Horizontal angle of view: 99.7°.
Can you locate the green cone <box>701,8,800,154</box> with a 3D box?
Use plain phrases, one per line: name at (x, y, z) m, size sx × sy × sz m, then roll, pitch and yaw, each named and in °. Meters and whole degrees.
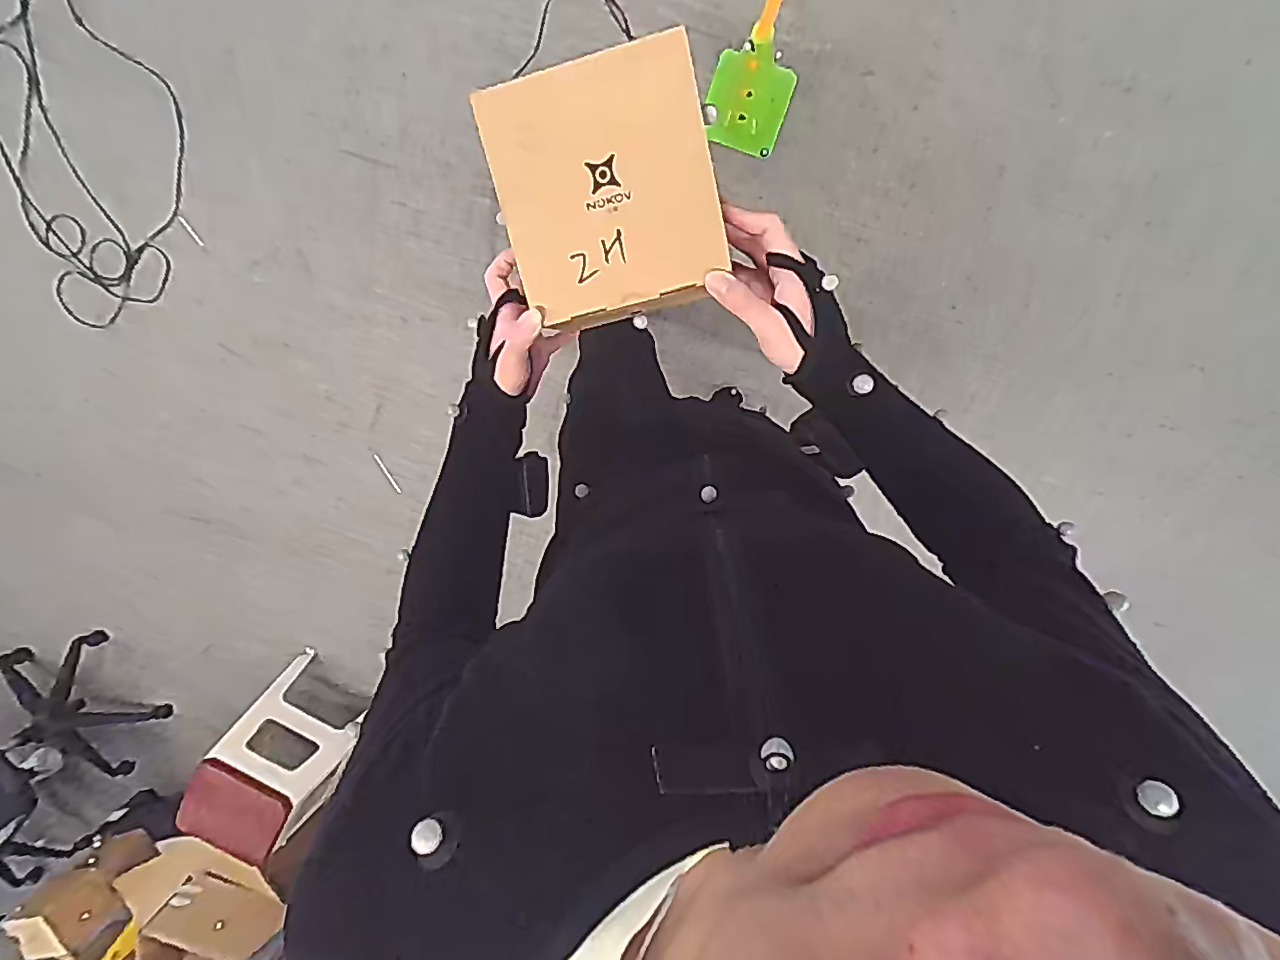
green cone at (0.249, -0.890, 1.163) m, size 0.202 × 0.368 × 0.200 m, roll 19°, pitch 105°, yaw 2°
